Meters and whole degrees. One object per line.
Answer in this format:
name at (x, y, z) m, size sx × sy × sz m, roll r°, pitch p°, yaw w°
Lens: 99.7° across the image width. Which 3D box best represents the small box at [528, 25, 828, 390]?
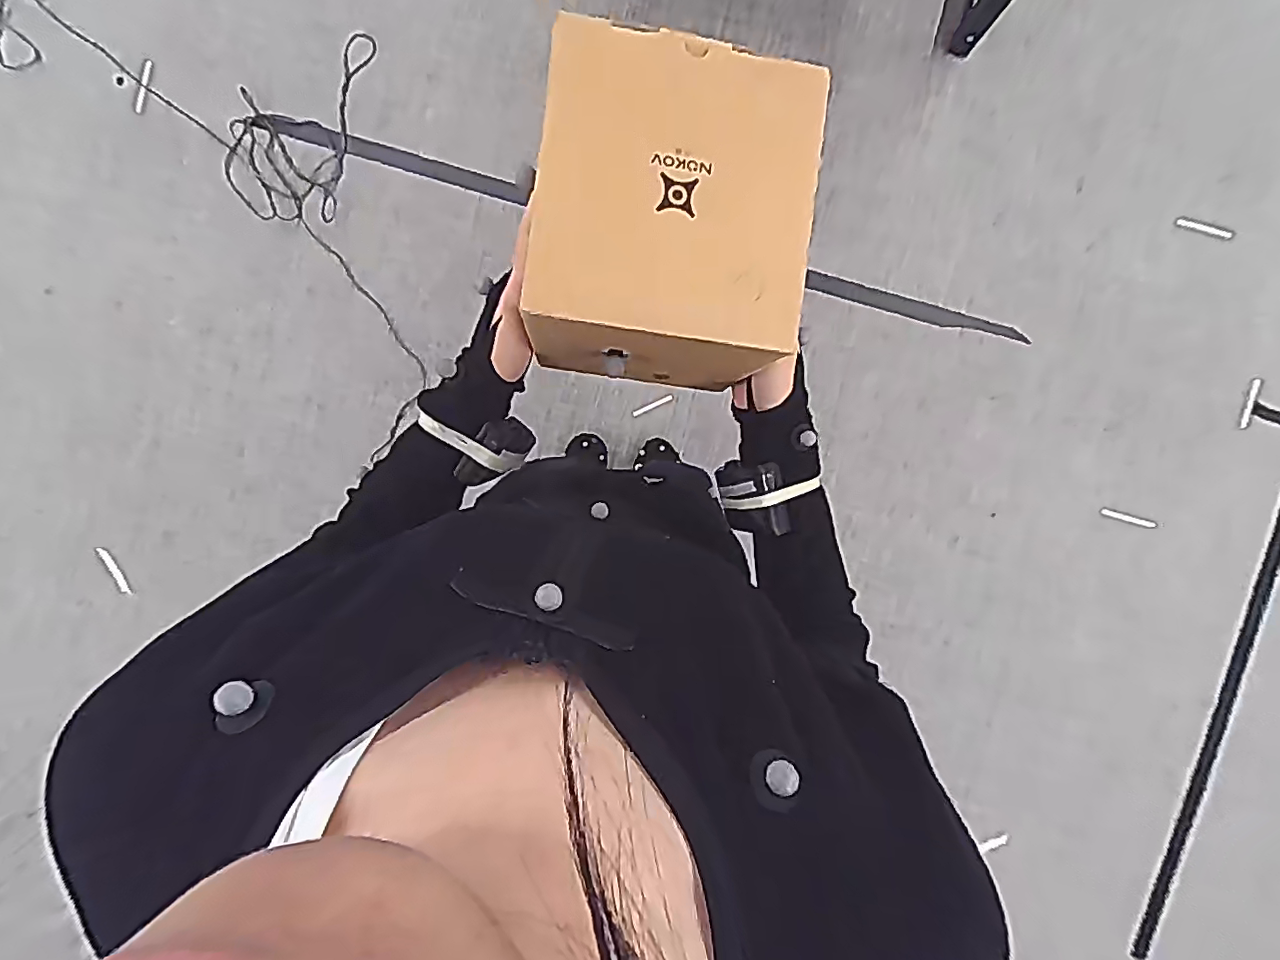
small box at (0.017, -0.171, 0.402) m, size 0.168 × 0.176 × 0.179 m, roll 7°, pitch 89°, yaw -7°
